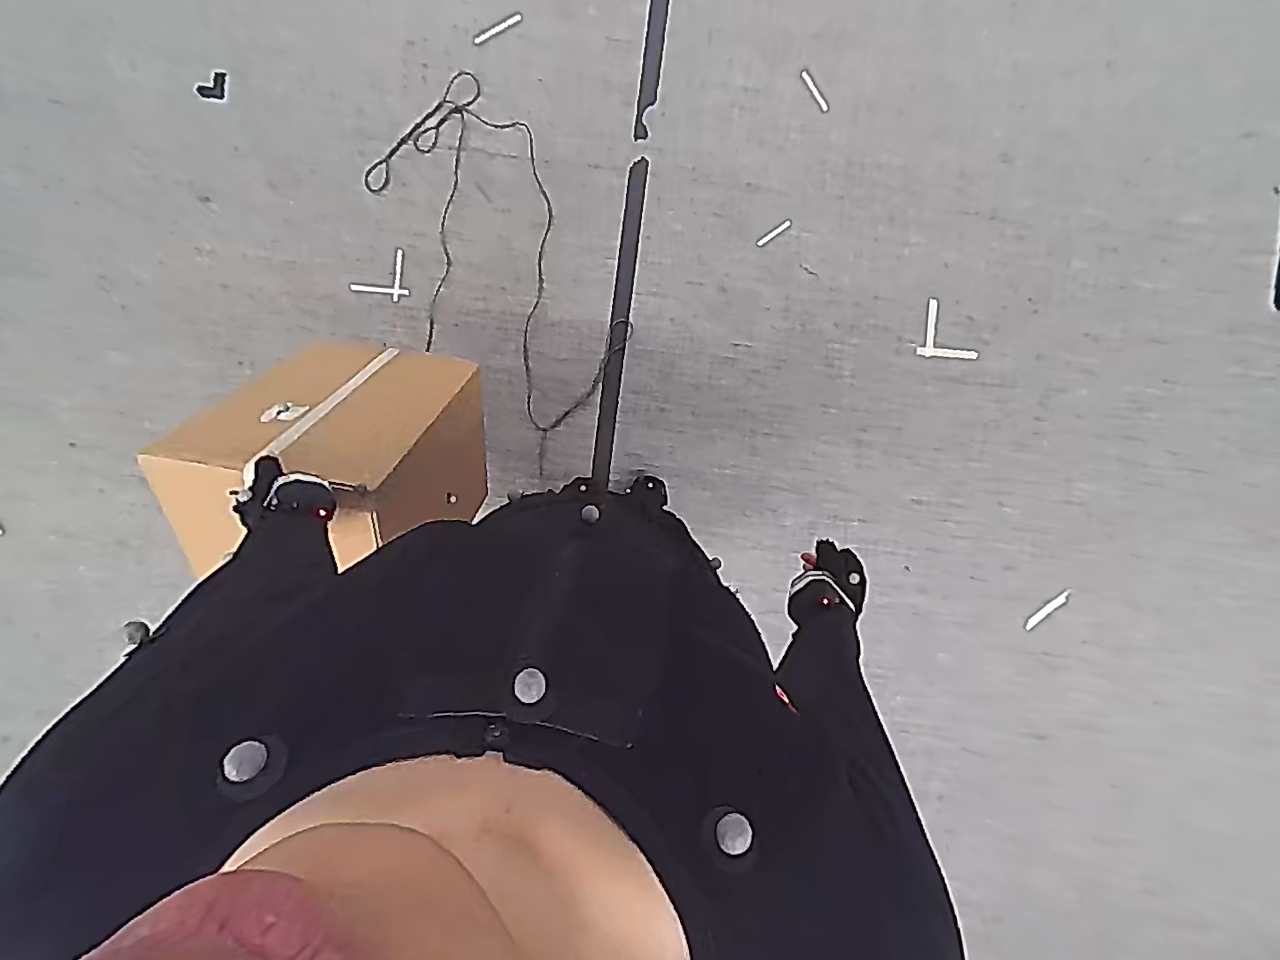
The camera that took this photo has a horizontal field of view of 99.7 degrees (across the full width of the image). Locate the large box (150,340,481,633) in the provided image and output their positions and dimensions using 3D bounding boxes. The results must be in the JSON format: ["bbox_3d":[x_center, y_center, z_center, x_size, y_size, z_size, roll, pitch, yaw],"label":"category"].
[{"bbox_3d":[-0.495,-0.007,0.952,0.320,0.408,0.320,9,127,1],"label":"large box"}]
